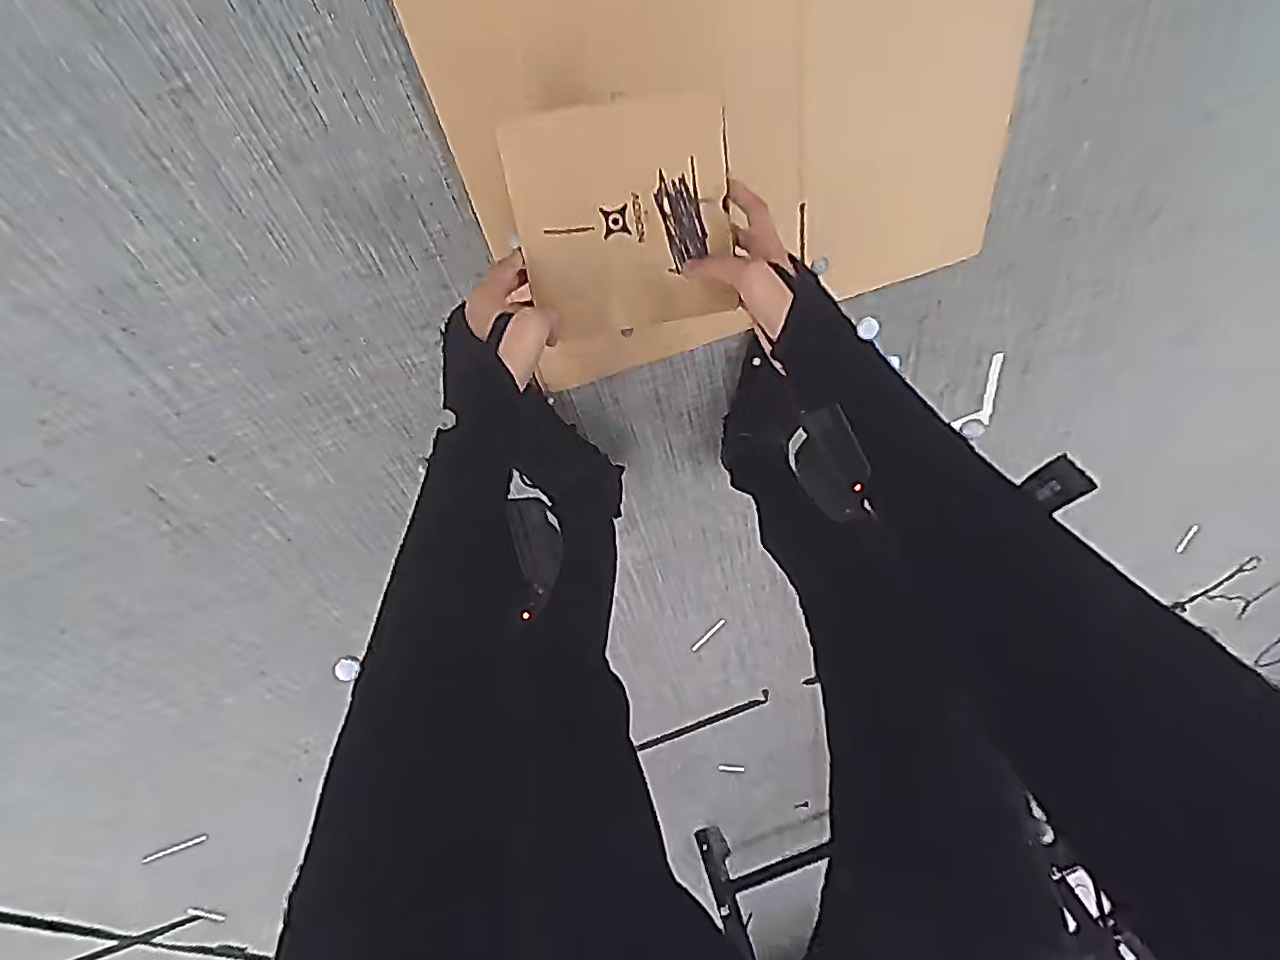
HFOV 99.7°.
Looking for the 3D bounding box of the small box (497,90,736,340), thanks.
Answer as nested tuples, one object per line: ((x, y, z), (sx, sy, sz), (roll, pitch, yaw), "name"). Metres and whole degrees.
((-0.021, -0.238, 0.508), (0.179, 0.176, 0.168), (-11, 113, -2), "small box")
